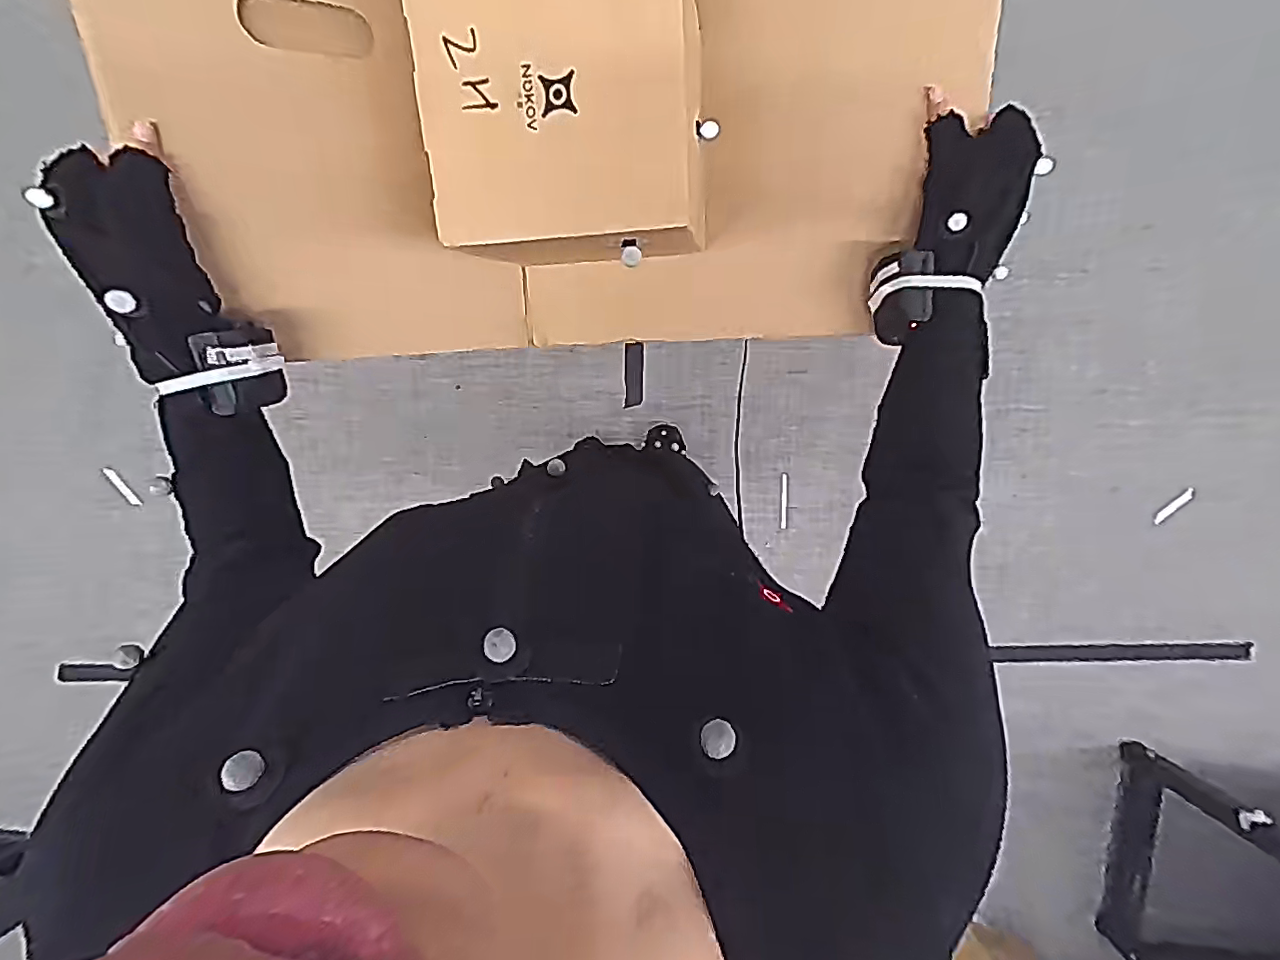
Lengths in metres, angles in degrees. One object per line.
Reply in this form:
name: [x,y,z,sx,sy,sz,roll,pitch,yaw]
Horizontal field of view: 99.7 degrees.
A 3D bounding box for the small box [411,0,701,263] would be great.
small box: [-0.044,-0.267,0.421,0.179,0.176,0.168,1,107,11]
